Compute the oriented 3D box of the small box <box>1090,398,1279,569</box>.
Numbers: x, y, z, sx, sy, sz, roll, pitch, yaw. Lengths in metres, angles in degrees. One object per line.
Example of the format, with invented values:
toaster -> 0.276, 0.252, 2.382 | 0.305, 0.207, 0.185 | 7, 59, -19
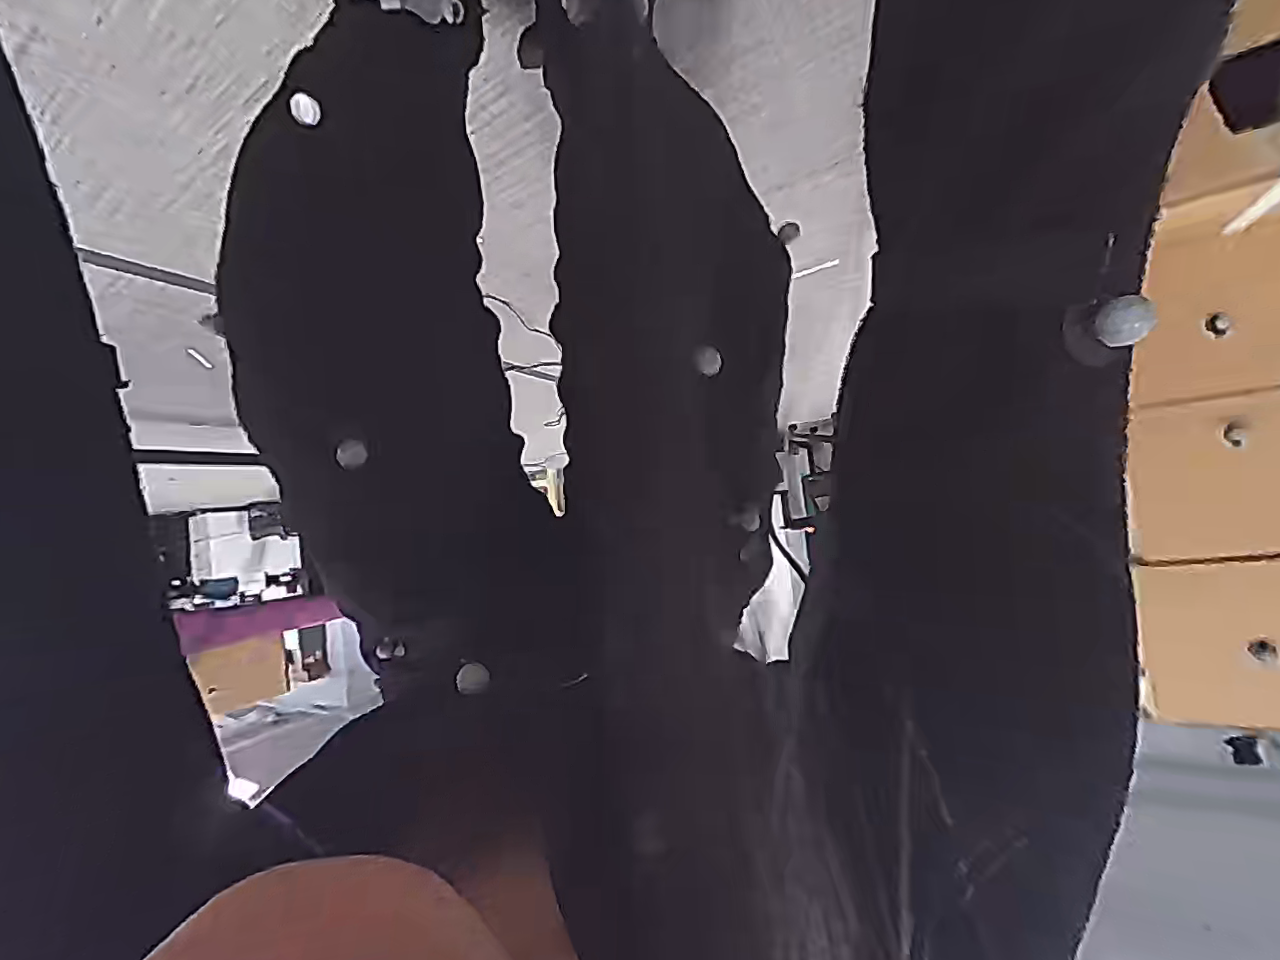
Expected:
small box -> 0.642, 0.004, 0.609 | 0.179, 0.176, 0.168 | -7, 176, 28
